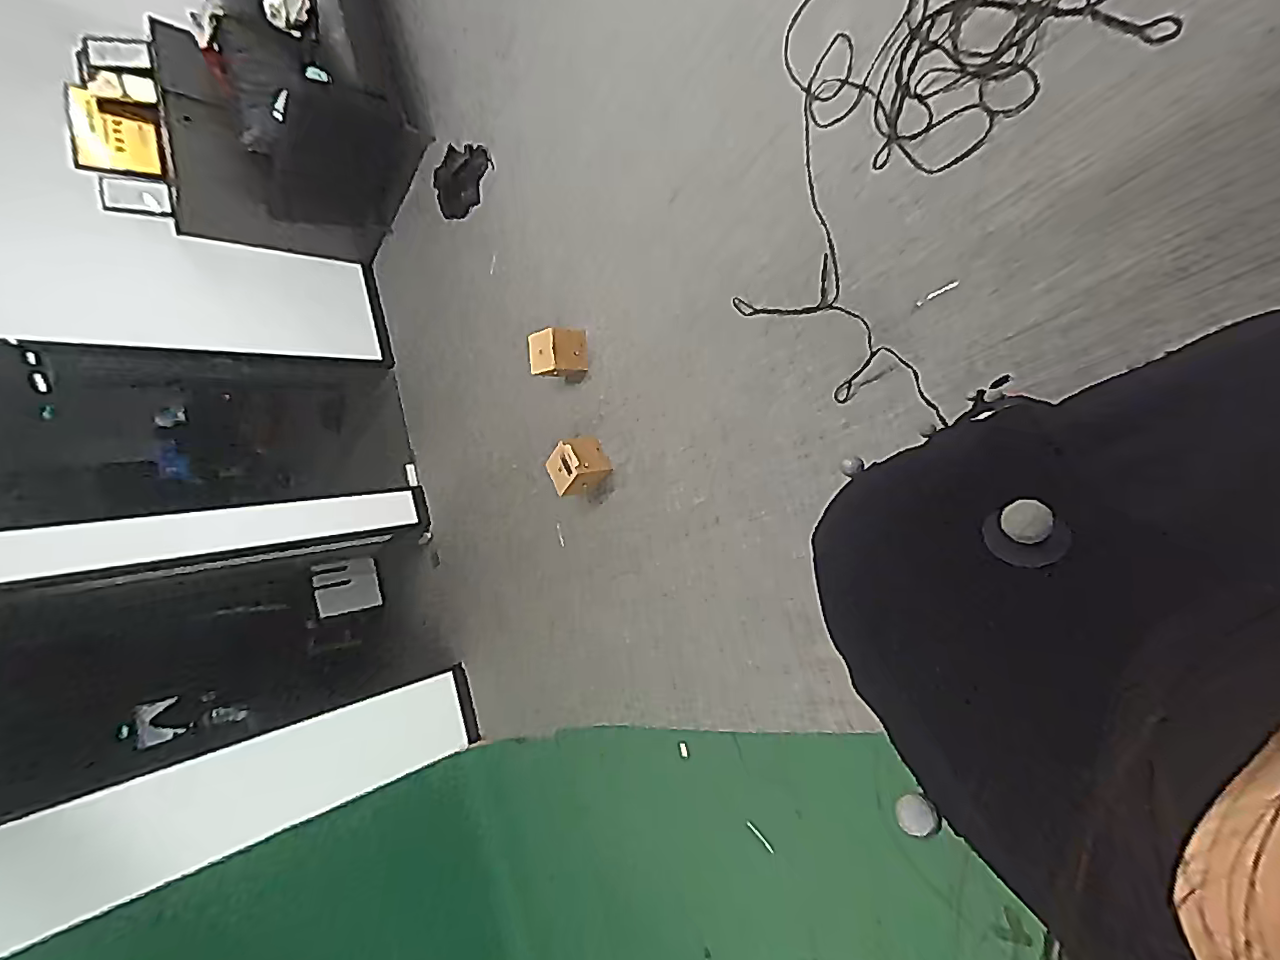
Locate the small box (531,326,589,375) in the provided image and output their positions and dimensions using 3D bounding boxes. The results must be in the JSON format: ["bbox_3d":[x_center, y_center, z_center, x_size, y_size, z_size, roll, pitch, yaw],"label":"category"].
[{"bbox_3d":[-0.331,-0.531,2.243,0.179,0.176,0.168,-1,94,47],"label":"small box"}]
